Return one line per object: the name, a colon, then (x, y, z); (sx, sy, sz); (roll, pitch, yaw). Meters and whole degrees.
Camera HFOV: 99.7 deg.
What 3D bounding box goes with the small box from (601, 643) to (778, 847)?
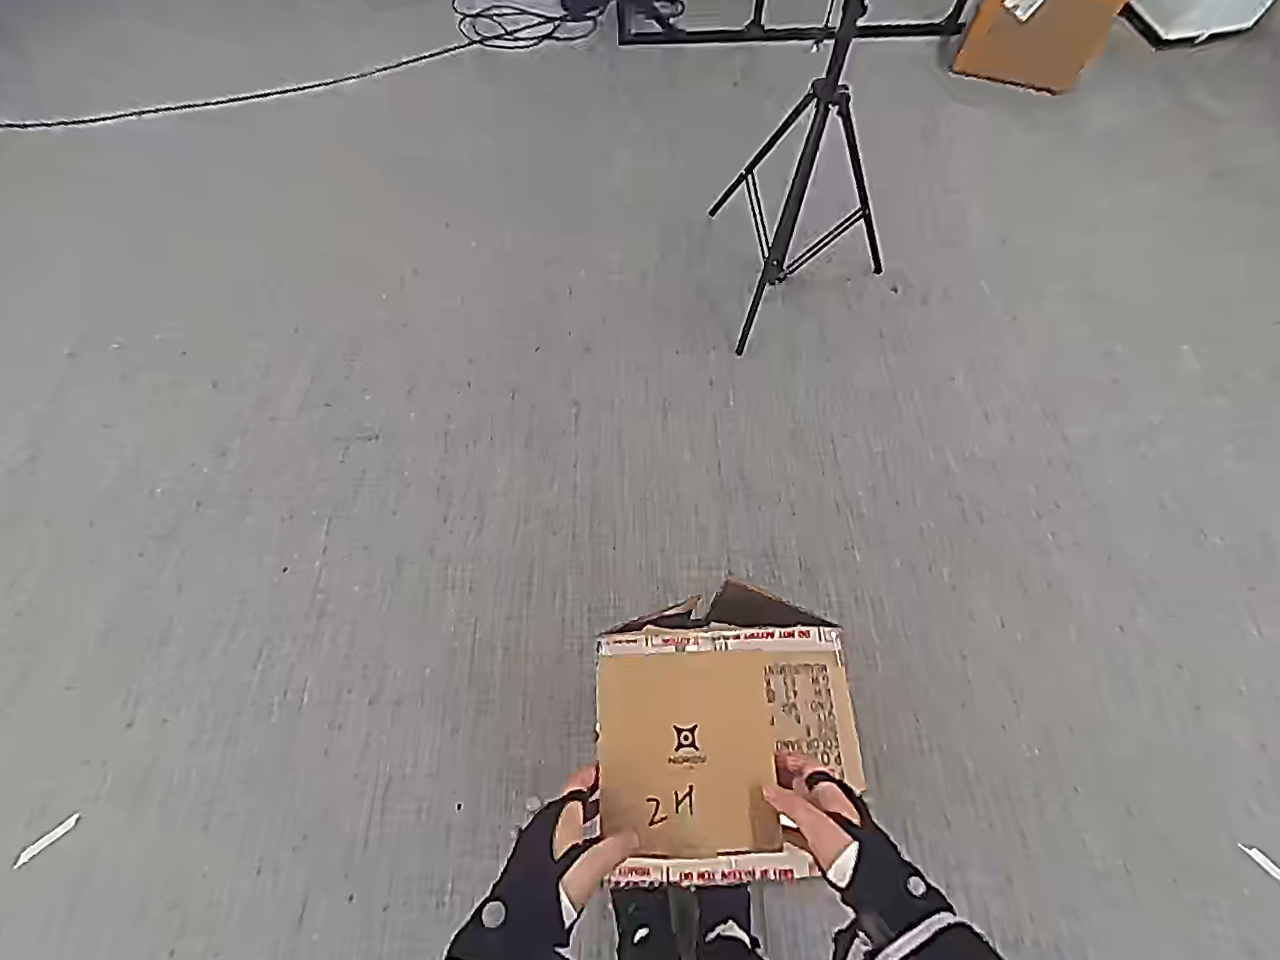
small box: (0.044, 0.281, 0.599); (0.168, 0.176, 0.179); (-3, 69, 0)
